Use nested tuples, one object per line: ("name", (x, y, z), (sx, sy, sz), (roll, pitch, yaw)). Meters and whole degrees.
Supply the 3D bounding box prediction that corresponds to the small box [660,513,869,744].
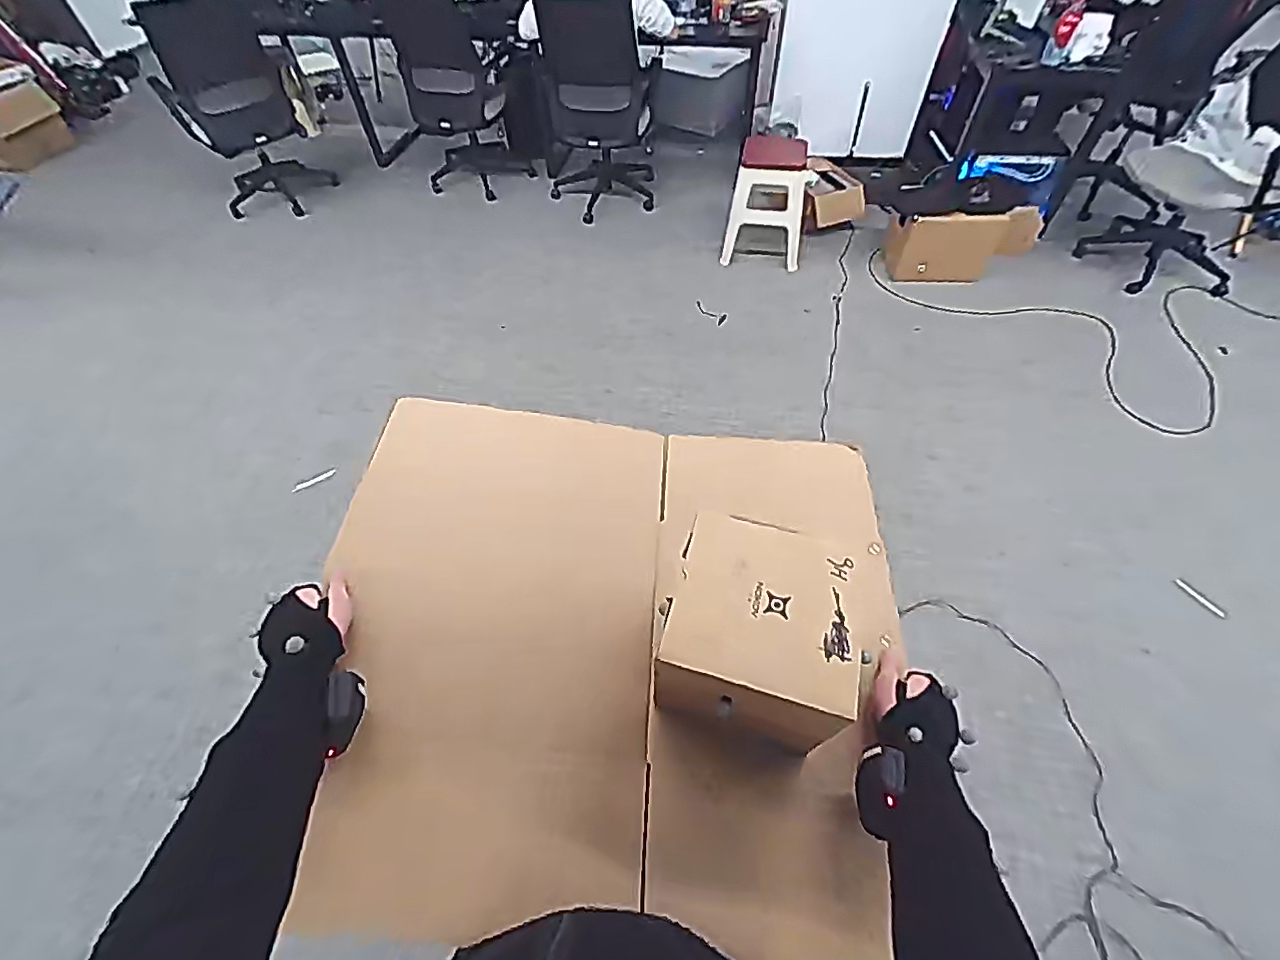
("small box", (0.126, 0.163, 0.579), (0.179, 0.176, 0.168), (13, 56, 11))
